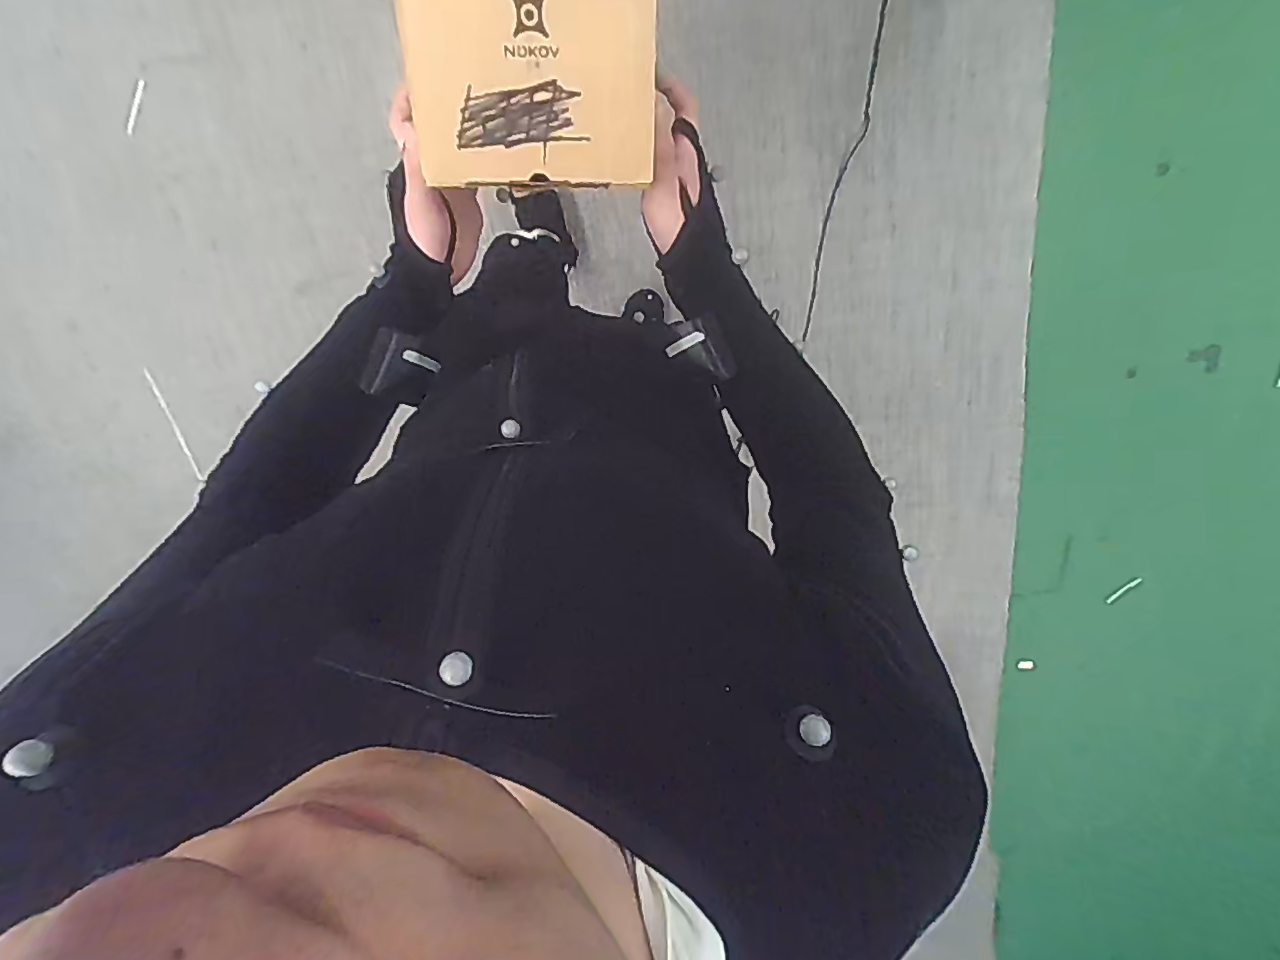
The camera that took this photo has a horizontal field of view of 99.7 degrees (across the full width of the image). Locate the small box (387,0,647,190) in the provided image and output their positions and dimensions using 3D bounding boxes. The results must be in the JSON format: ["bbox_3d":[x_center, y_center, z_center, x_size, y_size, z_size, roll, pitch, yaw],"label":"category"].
[{"bbox_3d":[-0.078,-0.325,0.417,0.168,0.176,0.179,-1,118,-2],"label":"small box"}]
